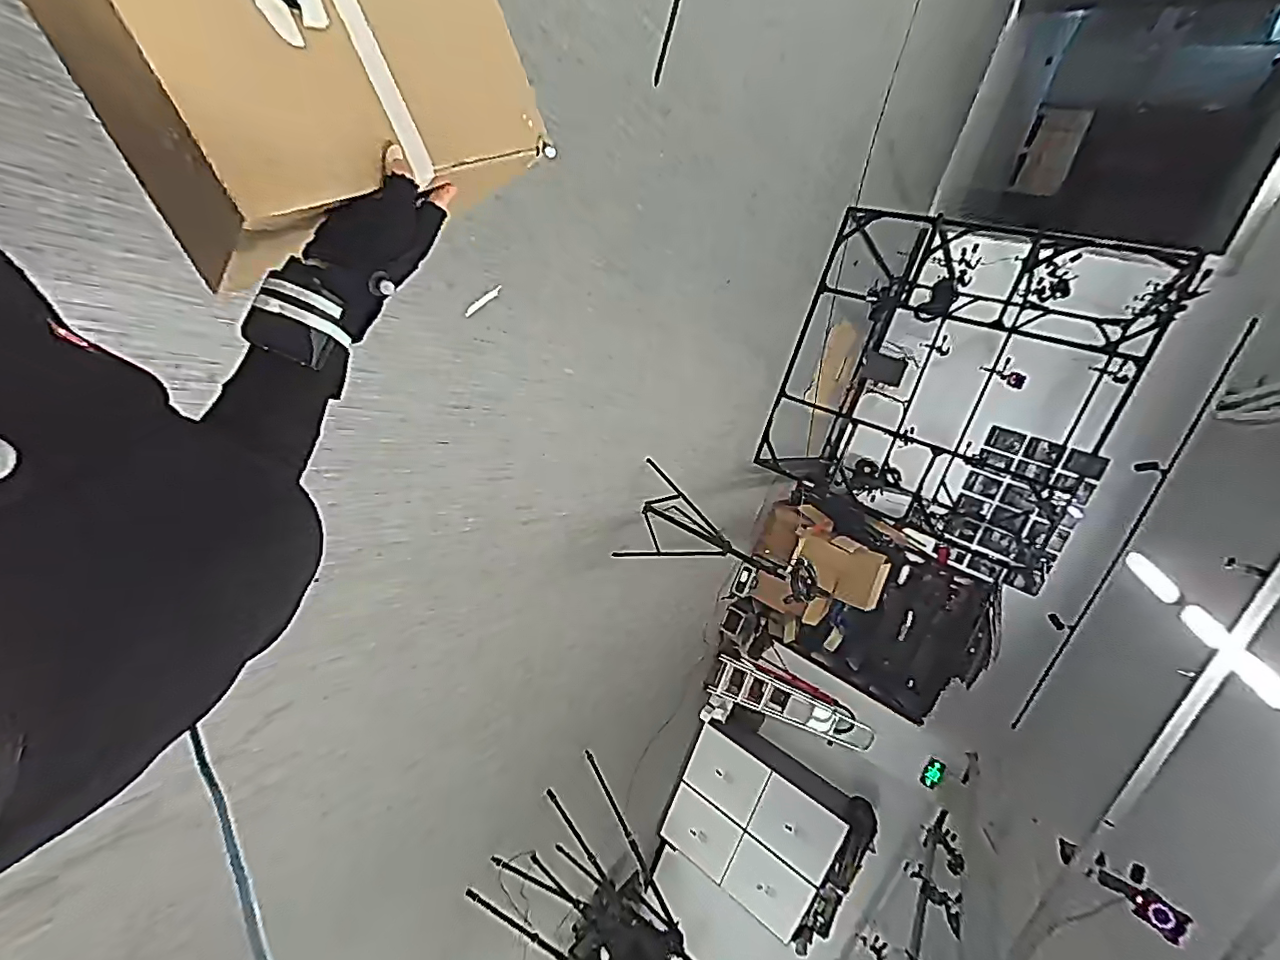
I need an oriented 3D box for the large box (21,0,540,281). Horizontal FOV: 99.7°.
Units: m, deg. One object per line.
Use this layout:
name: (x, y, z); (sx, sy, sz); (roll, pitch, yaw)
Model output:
large box: (-0.376, -0.467, 0.533); (0.320, 0.320, 0.408); (-38, 118, -32)
